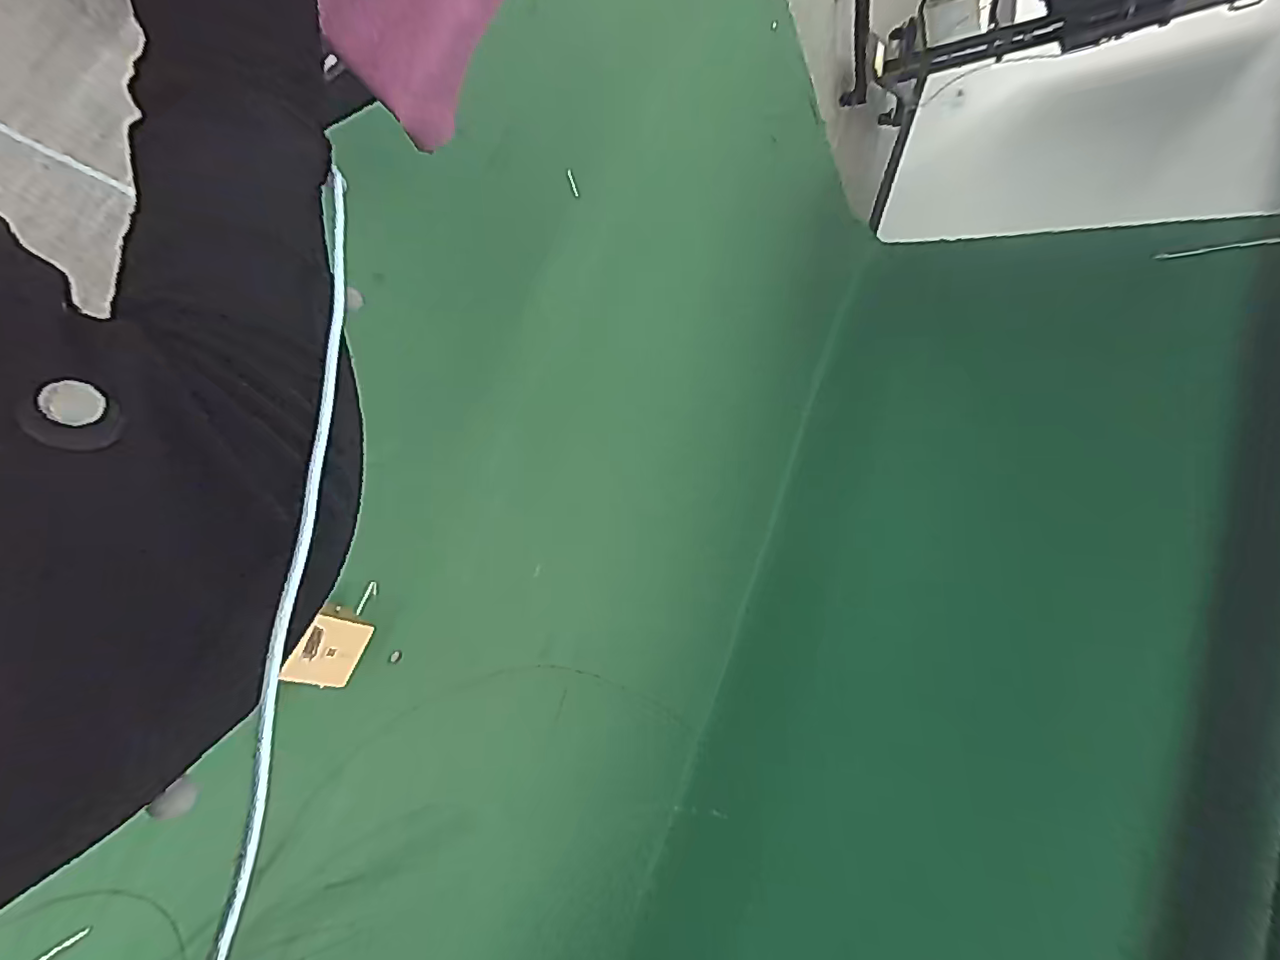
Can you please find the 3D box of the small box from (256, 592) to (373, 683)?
[{"bbox_3d":[-0.841,0.401,1.393,0.179,0.176,0.168,39,70,-50],"label":"small box"}]
